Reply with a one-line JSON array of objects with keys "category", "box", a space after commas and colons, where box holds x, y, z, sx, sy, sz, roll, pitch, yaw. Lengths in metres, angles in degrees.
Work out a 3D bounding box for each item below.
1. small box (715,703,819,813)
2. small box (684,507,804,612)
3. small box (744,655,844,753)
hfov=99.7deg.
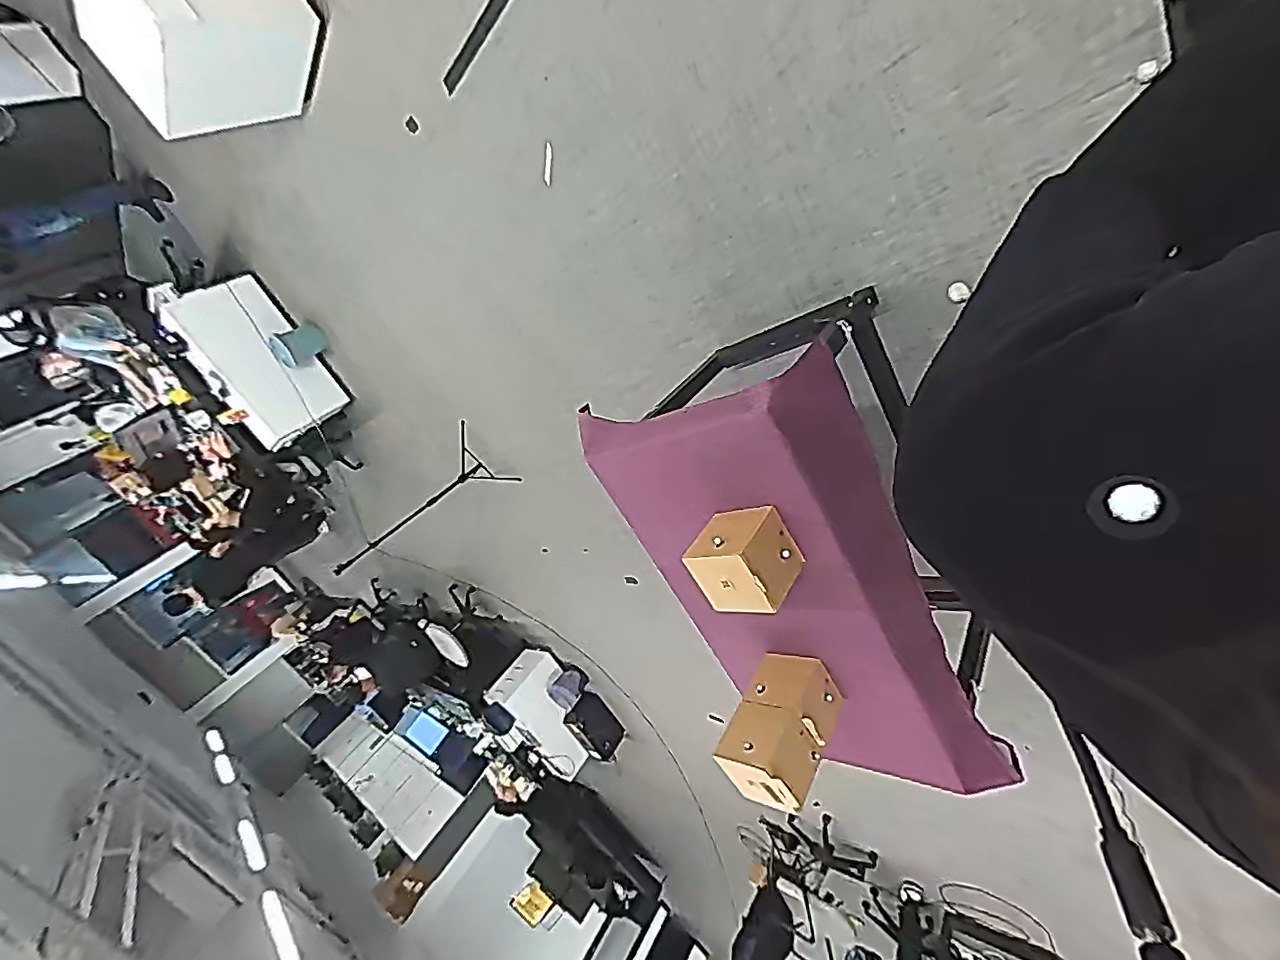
[{"category": "small box", "box": [0.329, 0.691, 1.365, 0.179, 0.176, 0.168, -17, 113, 50]}, {"category": "small box", "box": [0.239, 0.179, 1.230, 0.179, 0.176, 0.168, -14, 115, 49]}, {"category": "small box", "box": [0.420, 0.595, 1.462, 0.179, 0.176, 0.168, -12, 117, 48]}]
